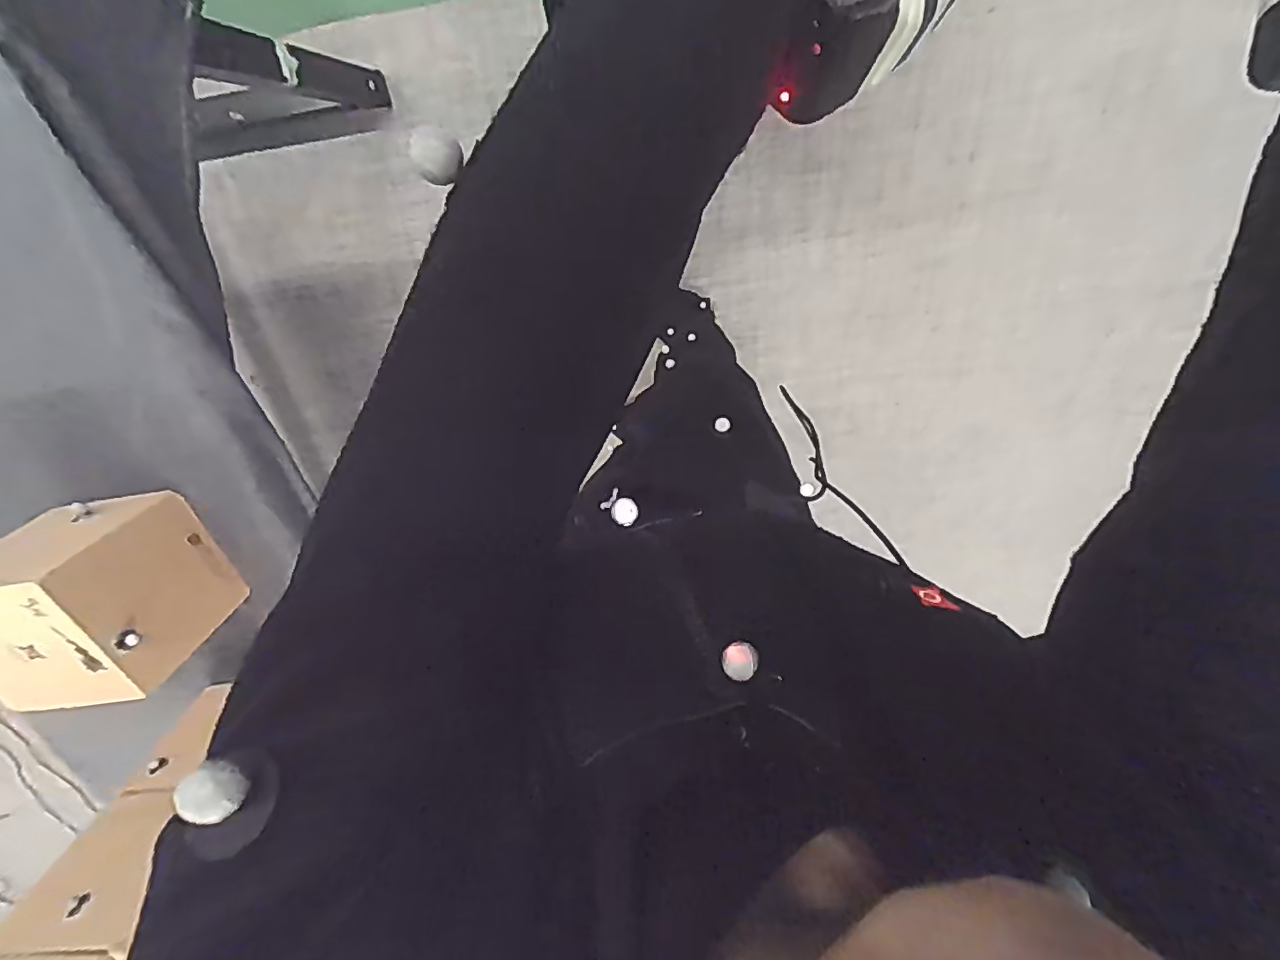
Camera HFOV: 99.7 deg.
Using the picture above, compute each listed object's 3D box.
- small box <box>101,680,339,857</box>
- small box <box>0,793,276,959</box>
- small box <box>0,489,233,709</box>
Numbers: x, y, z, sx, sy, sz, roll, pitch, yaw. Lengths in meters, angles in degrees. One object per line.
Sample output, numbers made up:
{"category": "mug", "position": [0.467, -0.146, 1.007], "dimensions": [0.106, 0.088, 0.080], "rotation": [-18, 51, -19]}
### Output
{"category": "small box", "position": [-0.562, 0.403, 0.761], "dimensions": [0.179, 0.176, 0.168], "rotation": [-9, 119, 9]}
{"category": "small box", "position": [-0.567, 0.486, 0.622], "dimensions": [0.179, 0.176, 0.168], "rotation": [-10, 118, 10]}
{"category": "small box", "position": [-0.620, 0.127, 0.602], "dimensions": [0.179, 0.176, 0.168], "rotation": [-7, 120, 8]}
